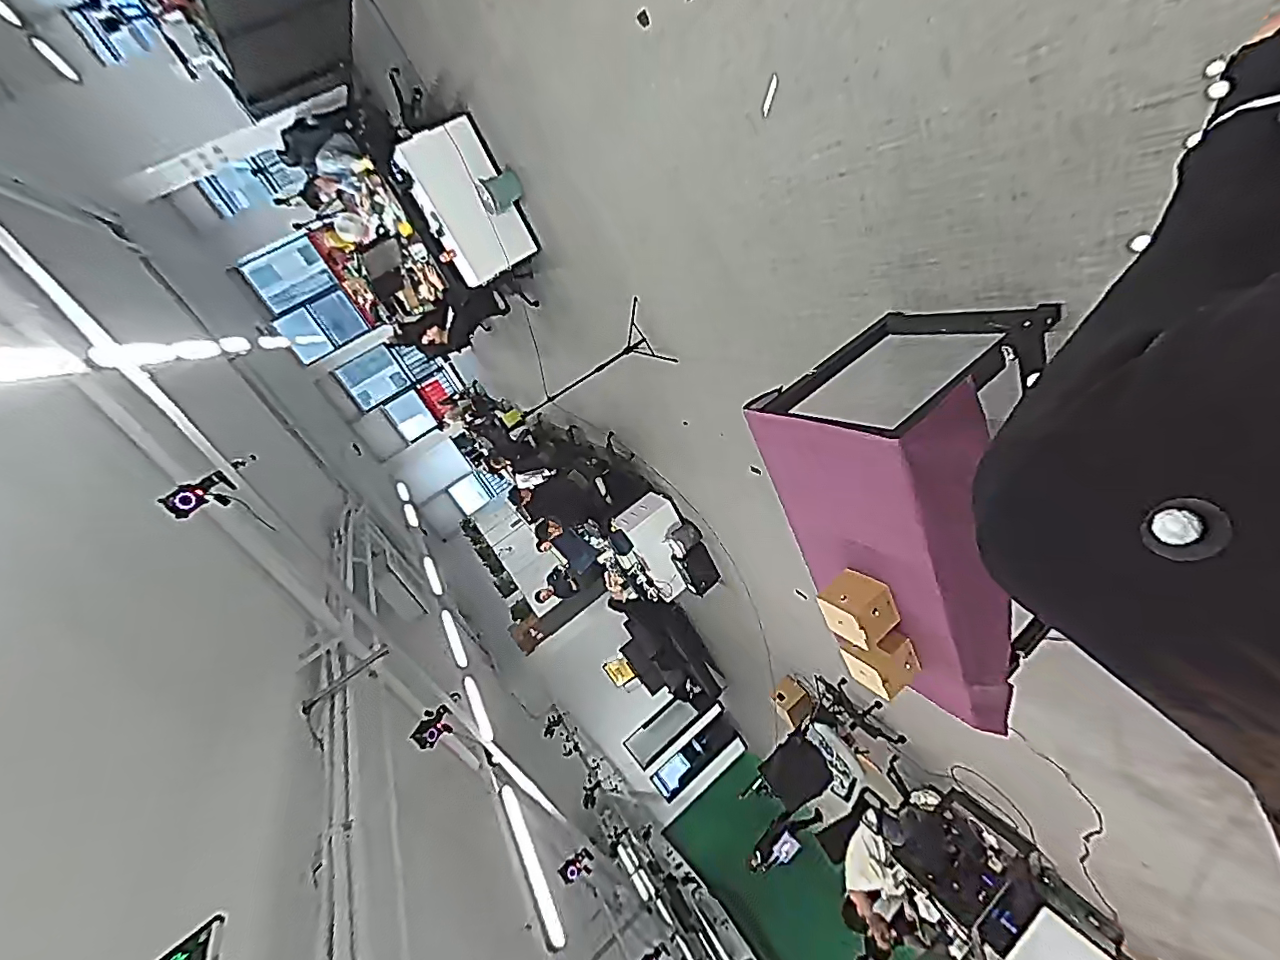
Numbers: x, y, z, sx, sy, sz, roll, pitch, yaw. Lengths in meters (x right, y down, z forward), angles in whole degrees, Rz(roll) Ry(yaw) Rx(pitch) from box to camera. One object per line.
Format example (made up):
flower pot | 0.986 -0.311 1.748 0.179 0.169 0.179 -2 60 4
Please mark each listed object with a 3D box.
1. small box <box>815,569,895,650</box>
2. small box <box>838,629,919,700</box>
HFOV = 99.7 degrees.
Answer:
small box | 0.734 0.430 1.830 0.179 0.176 0.168 25 147 61
small box | 0.848 0.633 1.923 0.168 0.176 0.179 60 163 -23
